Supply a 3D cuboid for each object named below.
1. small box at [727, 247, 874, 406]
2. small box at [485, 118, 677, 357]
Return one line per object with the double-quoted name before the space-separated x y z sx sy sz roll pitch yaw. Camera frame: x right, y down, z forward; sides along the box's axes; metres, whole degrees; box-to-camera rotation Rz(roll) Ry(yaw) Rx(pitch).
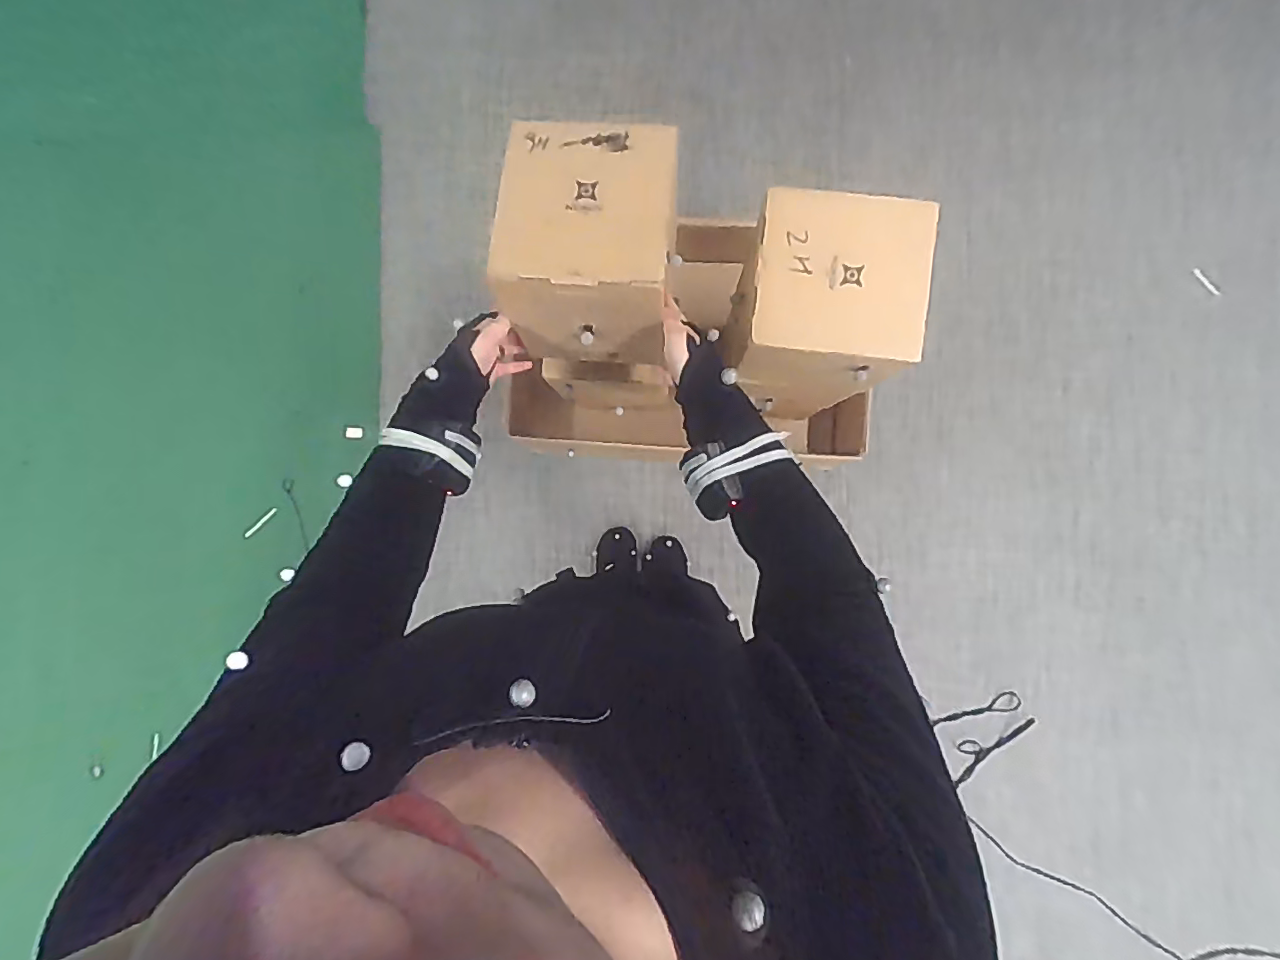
"small box" 0.222 -0.214 0.791 0.168 0.176 0.179 6 90 4
"small box" -0.049 -0.249 0.587 0.168 0.176 0.179 5 78 5
